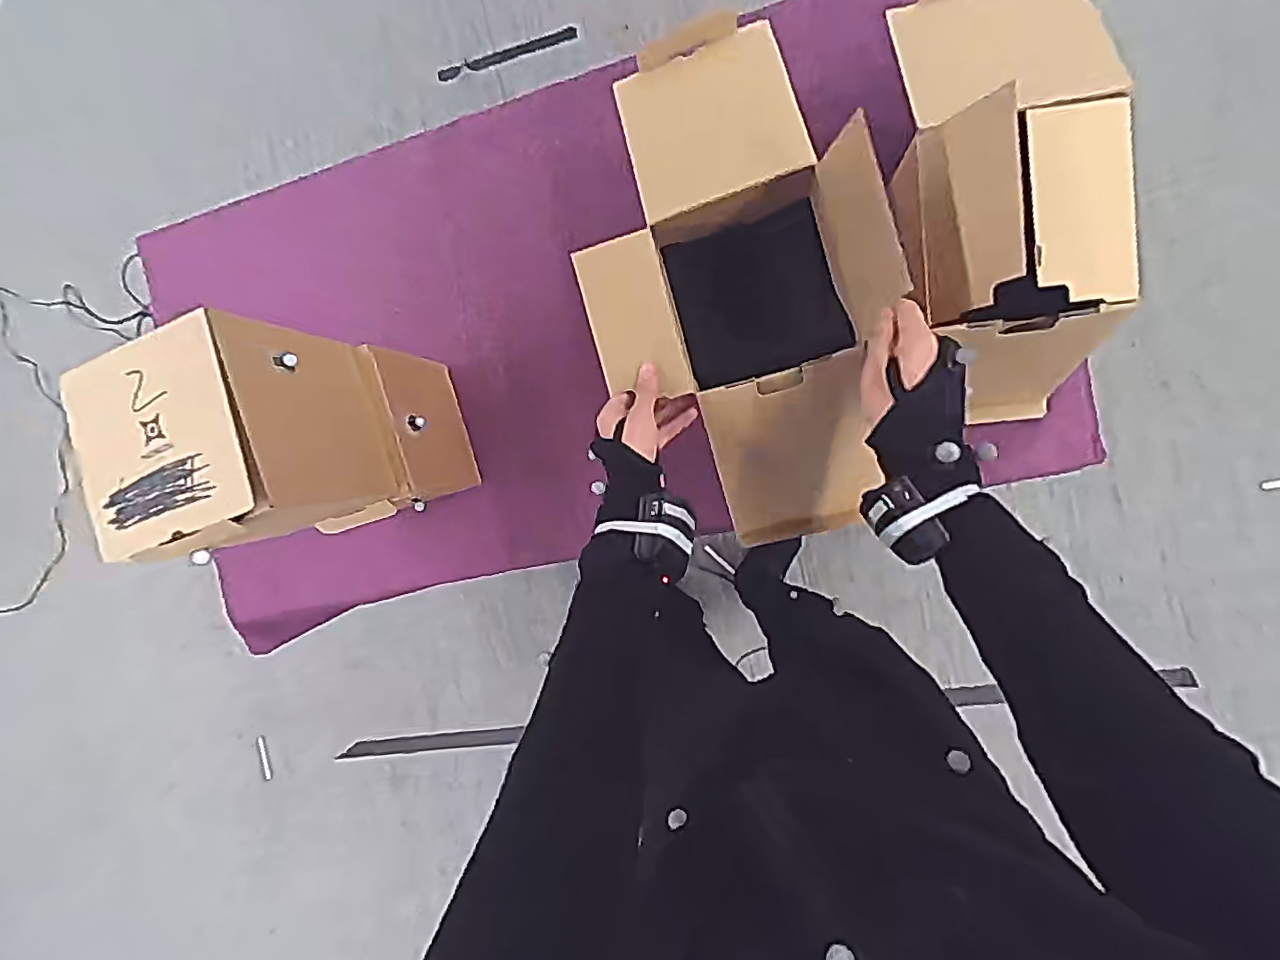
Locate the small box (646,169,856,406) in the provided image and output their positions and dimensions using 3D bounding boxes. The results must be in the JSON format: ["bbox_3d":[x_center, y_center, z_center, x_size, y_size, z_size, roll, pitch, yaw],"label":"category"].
[{"bbox_3d":[0.118,-0.189,0.590,0.168,0.176,0.179,-15,91,13],"label":"small box"}]

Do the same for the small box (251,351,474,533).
[{"bbox_3d":[-0.337,-0.046,0.690,0.168,0.176,0.179,-16,91,11],"label":"small box"}]
